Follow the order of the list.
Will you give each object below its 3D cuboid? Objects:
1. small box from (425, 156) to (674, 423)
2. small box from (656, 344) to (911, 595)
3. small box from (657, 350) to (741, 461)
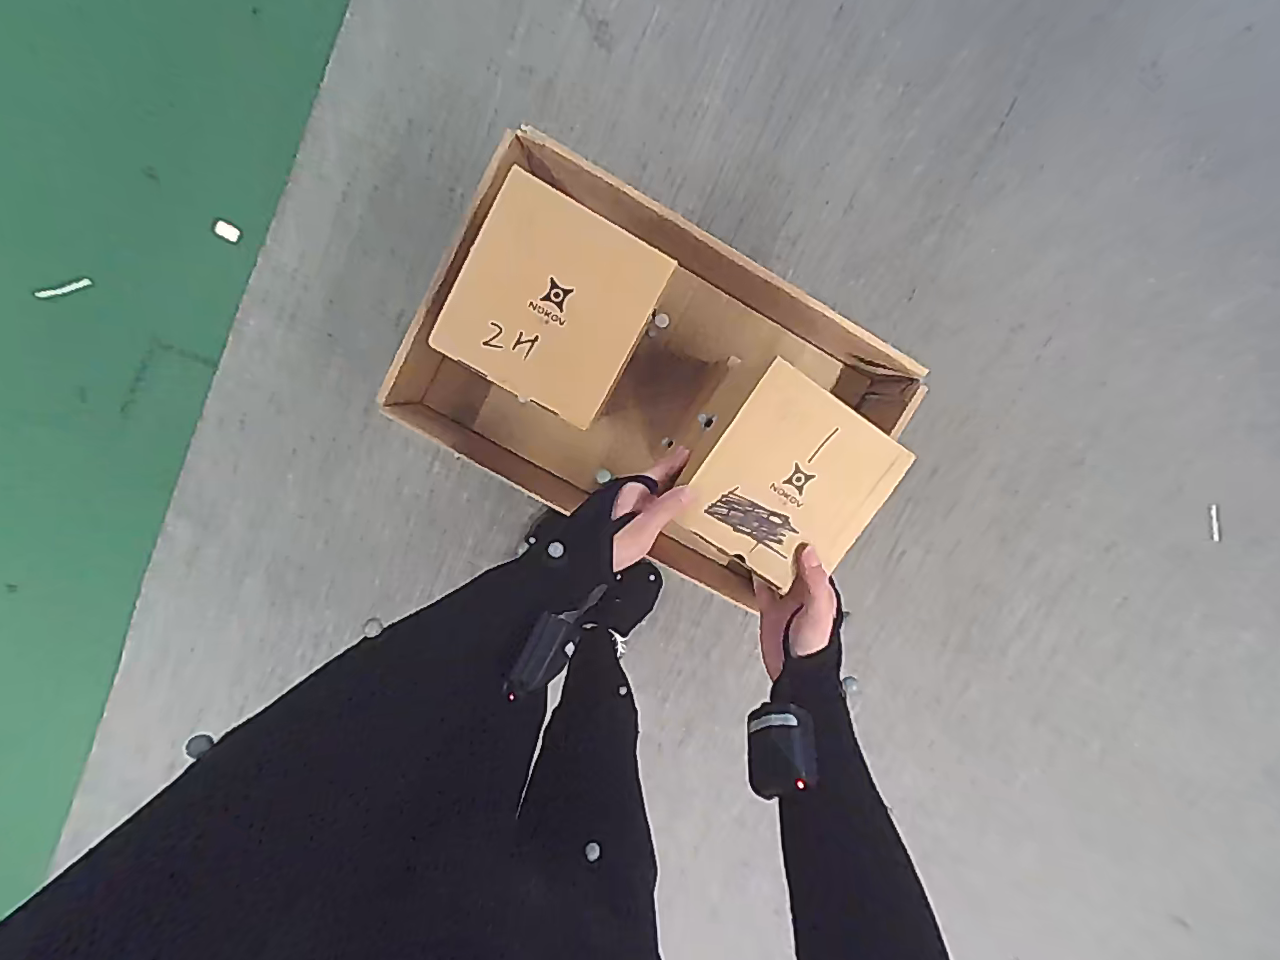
[{"bbox_3d":[-0.084,-0.177,0.557,0.168,0.176,0.179,28,98,-6],"label":"small box"},{"bbox_3d":[0.129,-0.017,0.565,0.168,0.176,0.179,33,96,-8],"label":"small box"},{"bbox_3d":[0.132,-0.060,0.752,0.168,0.176,0.179,30,98,-6],"label":"small box"}]
